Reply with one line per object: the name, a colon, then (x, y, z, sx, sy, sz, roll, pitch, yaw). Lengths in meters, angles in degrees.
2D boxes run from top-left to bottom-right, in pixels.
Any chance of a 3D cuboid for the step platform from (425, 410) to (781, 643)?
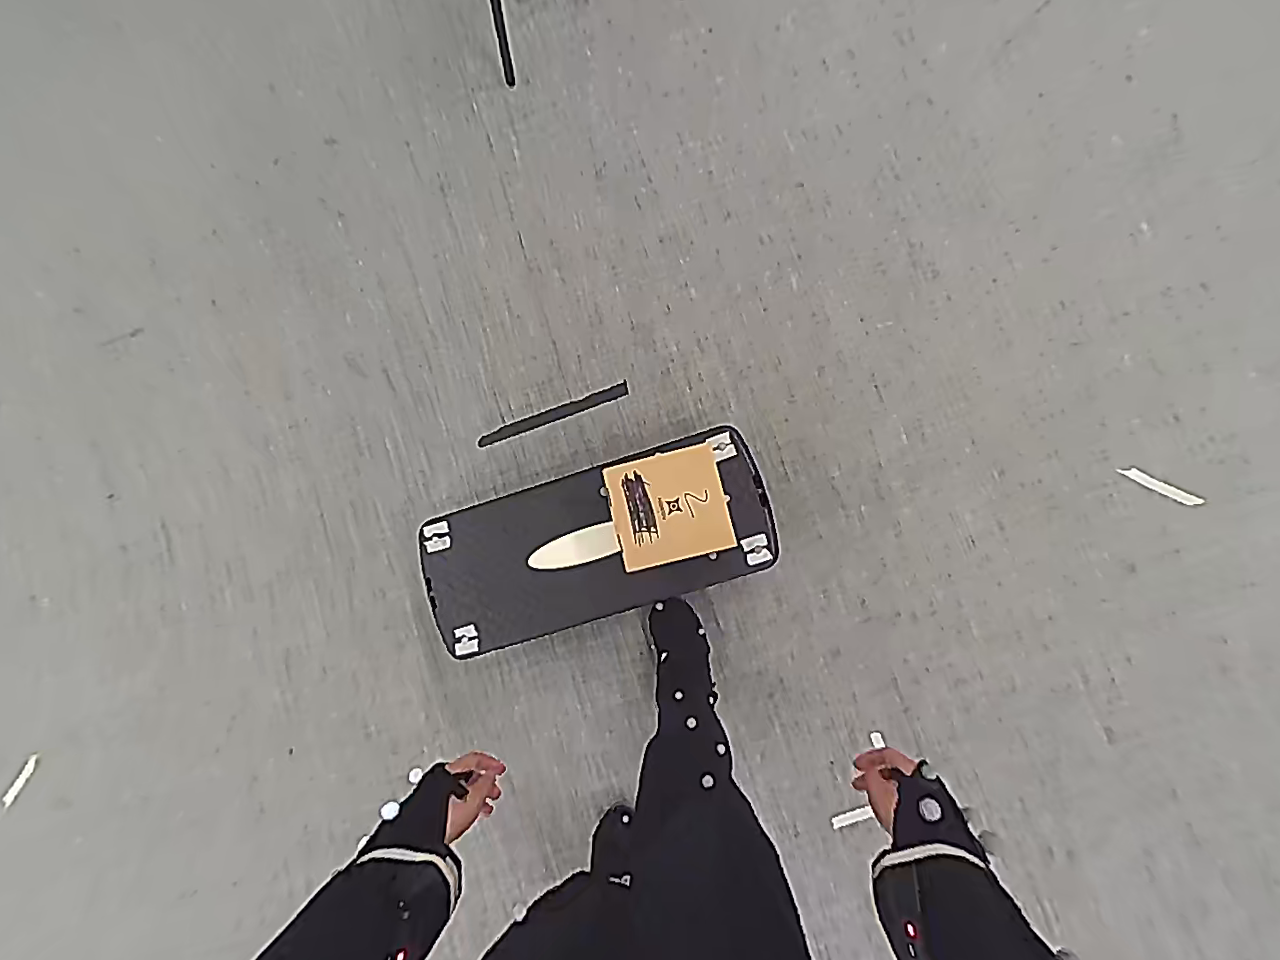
step platform: (-0.073, 0.096, 1.087, 0.684, 0.204, 0.286, -18, 83, 5)
